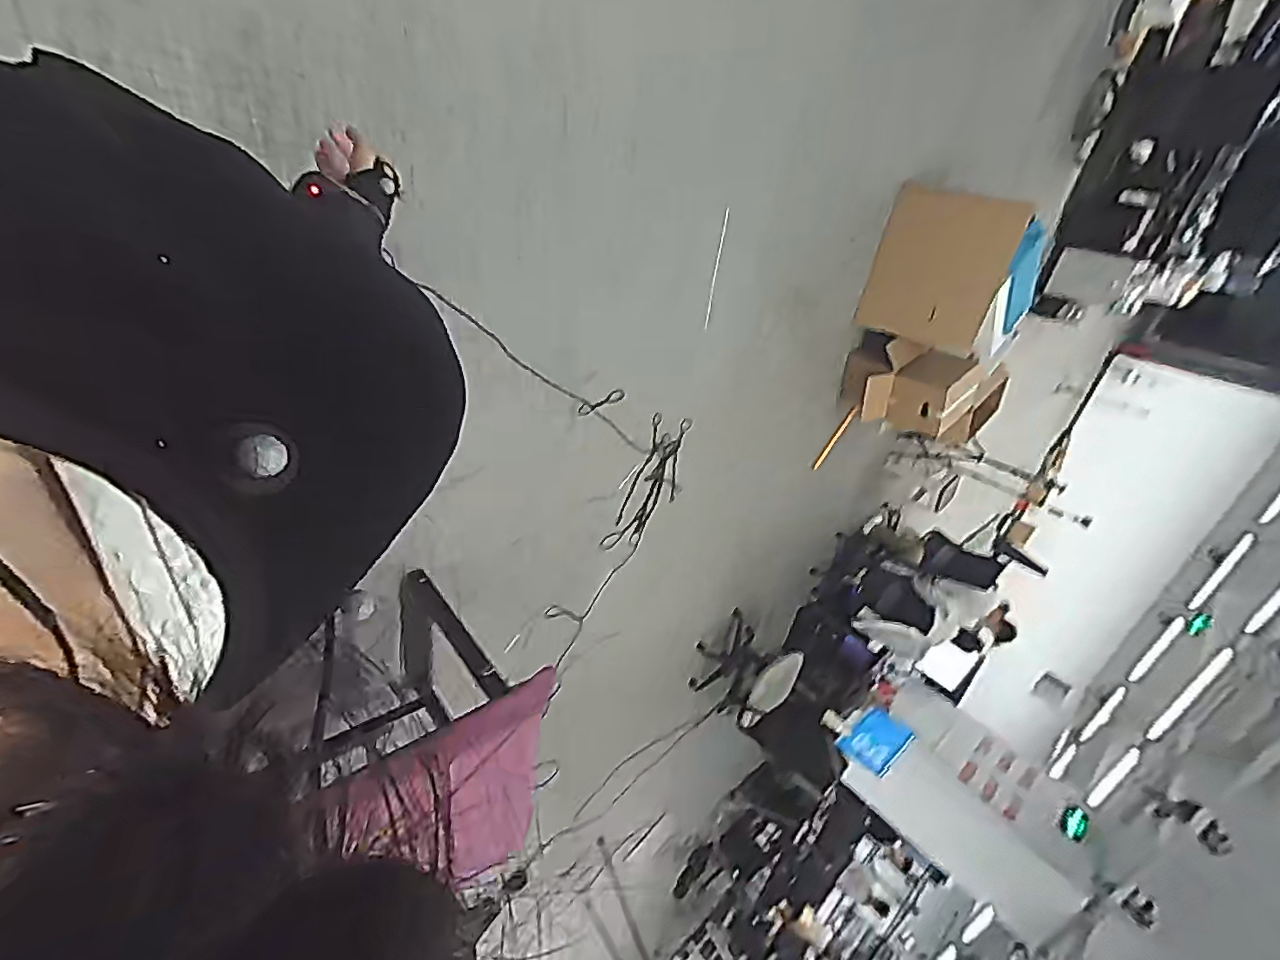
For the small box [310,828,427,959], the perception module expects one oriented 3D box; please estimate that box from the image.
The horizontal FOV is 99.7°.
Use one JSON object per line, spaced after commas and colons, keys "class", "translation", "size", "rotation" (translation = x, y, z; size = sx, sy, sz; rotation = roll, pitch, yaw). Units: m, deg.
{"class": "small box", "translation": [-0.586, 0.892, 1.159], "size": [0.168, 0.176, 0.179], "rotation": [-1, 118, -48]}
